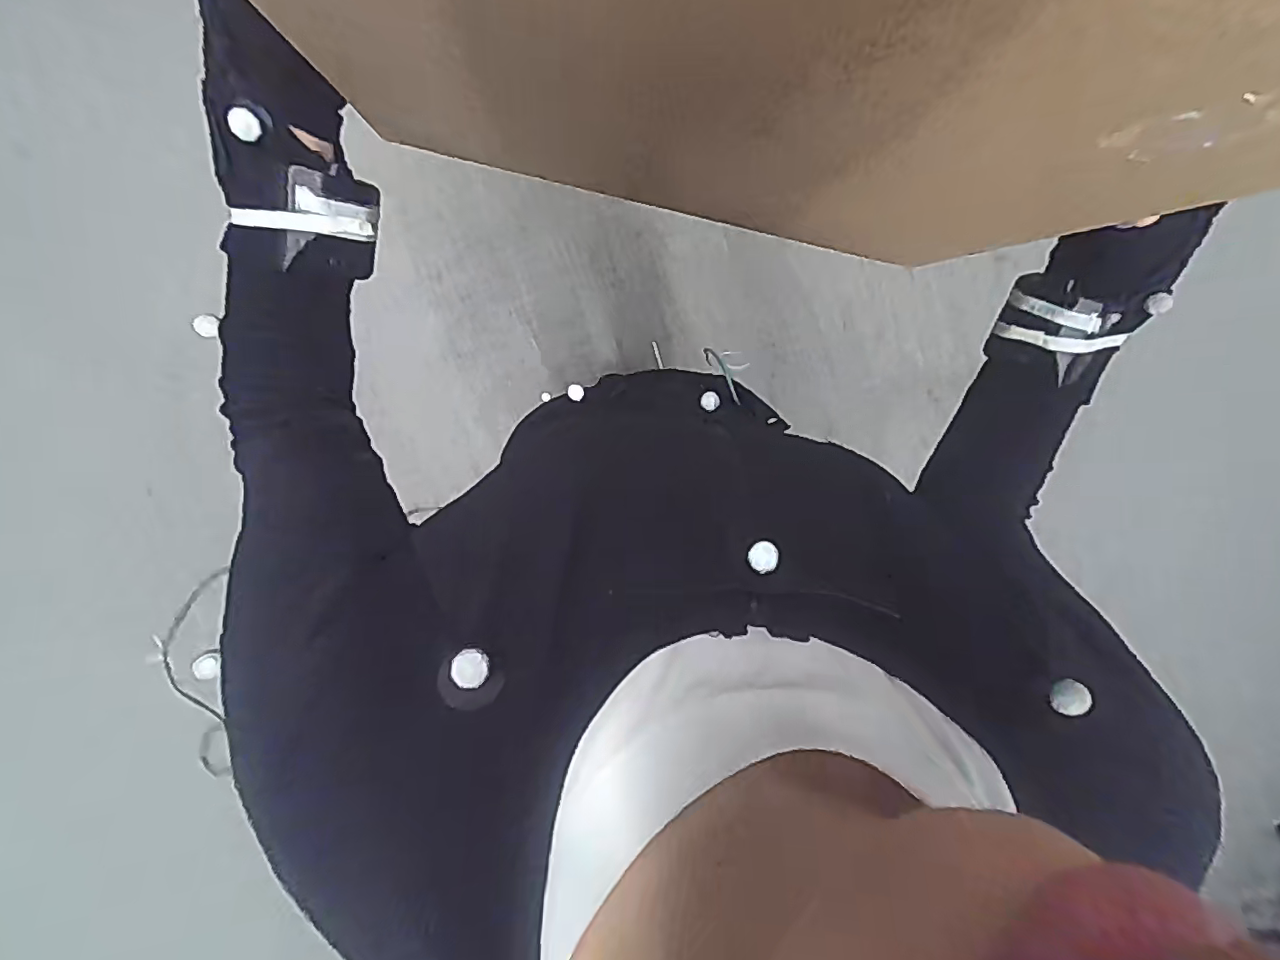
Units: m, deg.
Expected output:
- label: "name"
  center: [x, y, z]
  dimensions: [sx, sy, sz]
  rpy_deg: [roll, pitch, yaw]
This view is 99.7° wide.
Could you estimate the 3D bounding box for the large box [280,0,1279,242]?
- label: "large box"
  center: [0.063, -0.318, 0.215]
  dimensions: [0.408, 0.320, 0.320]
  rpy_deg: [8, 104, -10]
